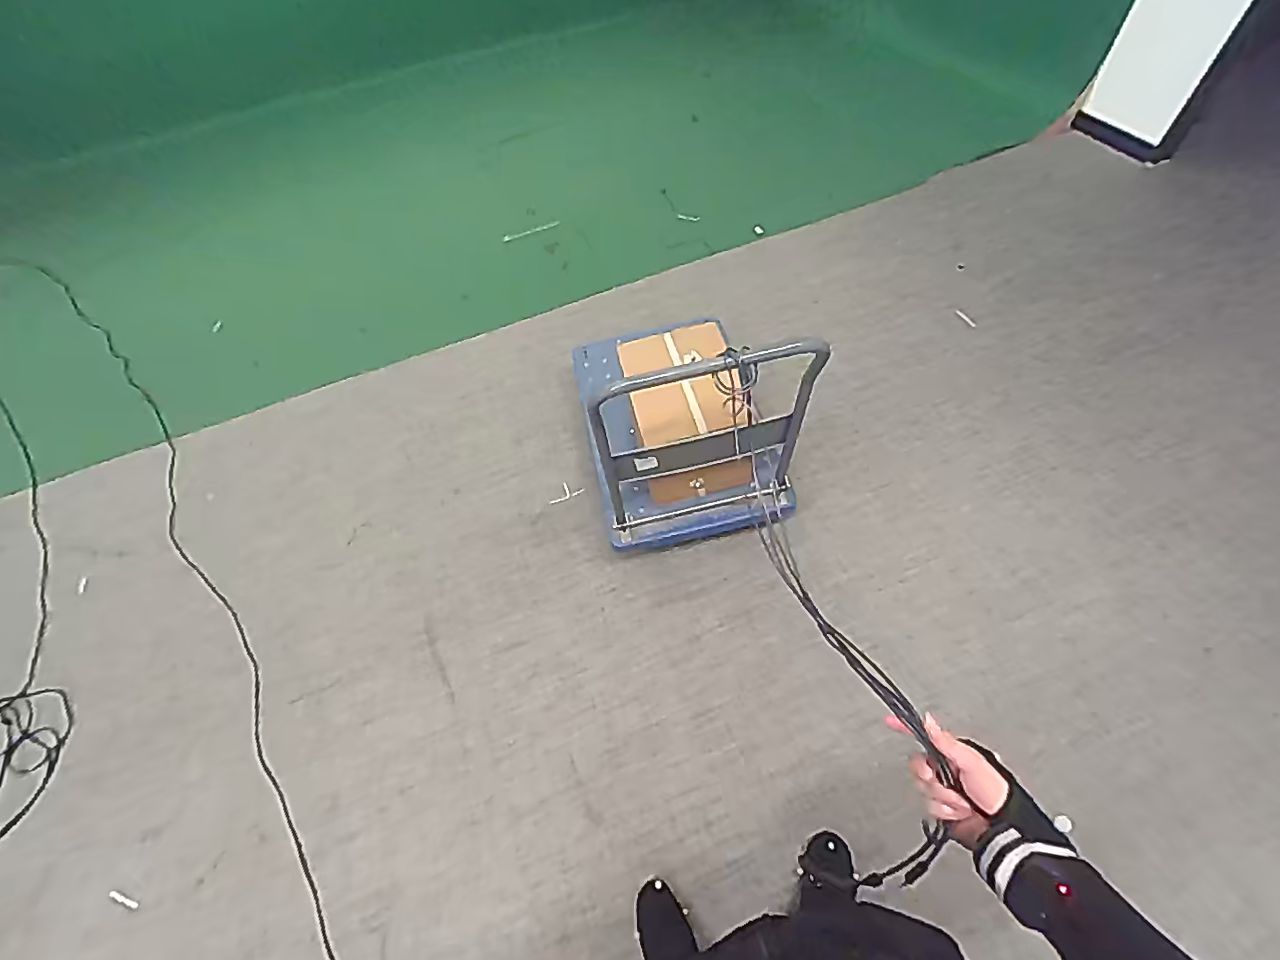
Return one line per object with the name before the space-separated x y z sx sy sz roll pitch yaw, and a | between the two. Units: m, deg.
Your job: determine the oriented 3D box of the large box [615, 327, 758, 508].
large box | 0.136 -0.186 1.635 0.320 0.320 0.408 -14 55 -2
